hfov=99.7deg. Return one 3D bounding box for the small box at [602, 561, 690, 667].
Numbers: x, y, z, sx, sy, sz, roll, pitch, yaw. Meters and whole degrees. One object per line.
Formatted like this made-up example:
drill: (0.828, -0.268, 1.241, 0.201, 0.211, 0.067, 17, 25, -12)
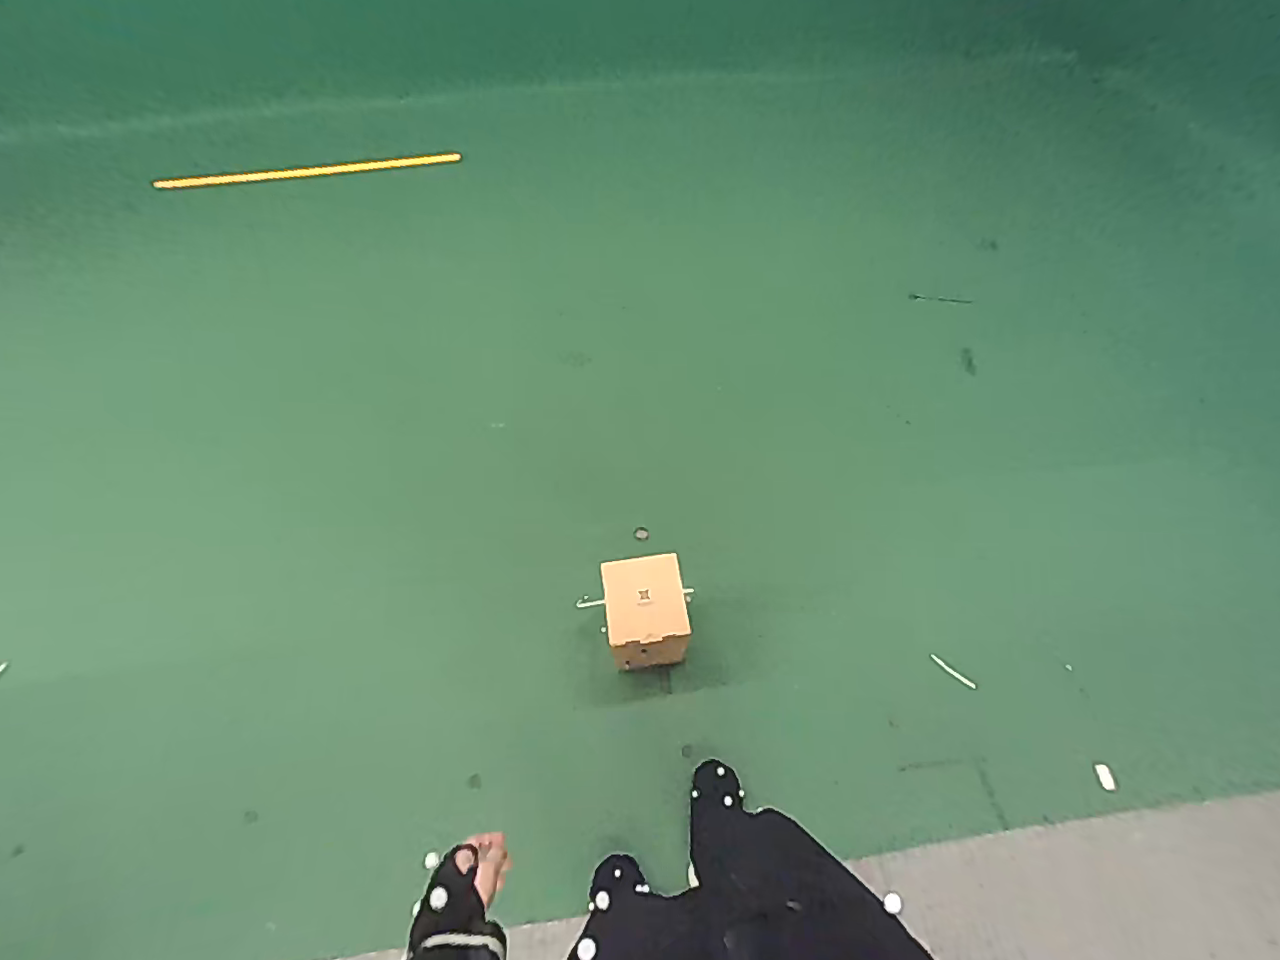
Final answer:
small box: (0.007, 0.294, 1.176, 0.168, 0.176, 0.179, -6, 61, -5)
